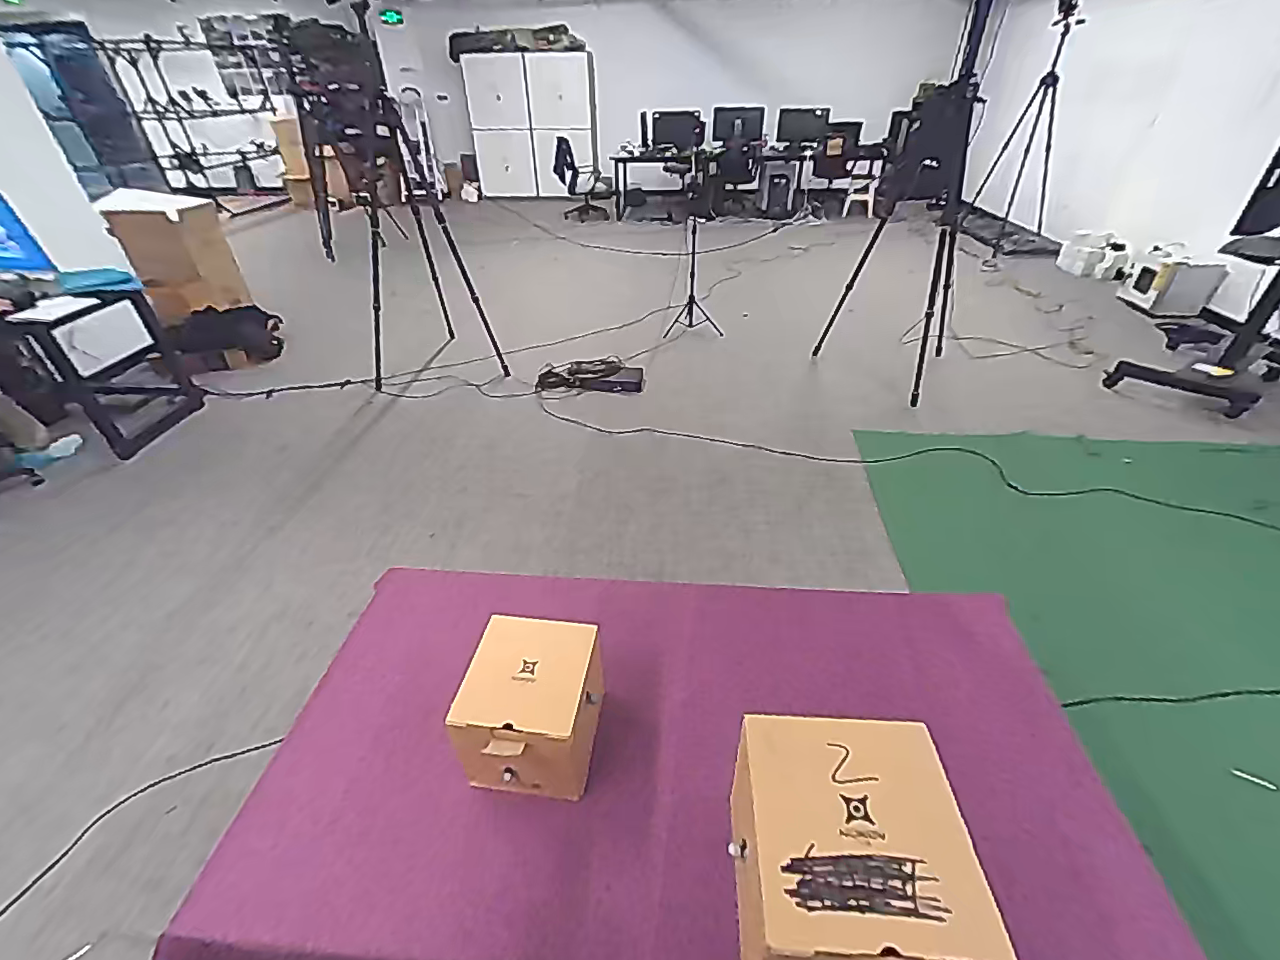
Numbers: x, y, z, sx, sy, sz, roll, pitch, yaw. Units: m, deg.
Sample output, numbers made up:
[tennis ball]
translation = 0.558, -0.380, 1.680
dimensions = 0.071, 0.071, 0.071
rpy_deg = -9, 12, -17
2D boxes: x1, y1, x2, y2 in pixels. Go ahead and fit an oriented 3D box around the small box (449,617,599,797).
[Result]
[small box]
translation = -0.157, 0.334, 0.803
dimensions = 0.168, 0.176, 0.179
rpy_deg = 4, 37, 7
